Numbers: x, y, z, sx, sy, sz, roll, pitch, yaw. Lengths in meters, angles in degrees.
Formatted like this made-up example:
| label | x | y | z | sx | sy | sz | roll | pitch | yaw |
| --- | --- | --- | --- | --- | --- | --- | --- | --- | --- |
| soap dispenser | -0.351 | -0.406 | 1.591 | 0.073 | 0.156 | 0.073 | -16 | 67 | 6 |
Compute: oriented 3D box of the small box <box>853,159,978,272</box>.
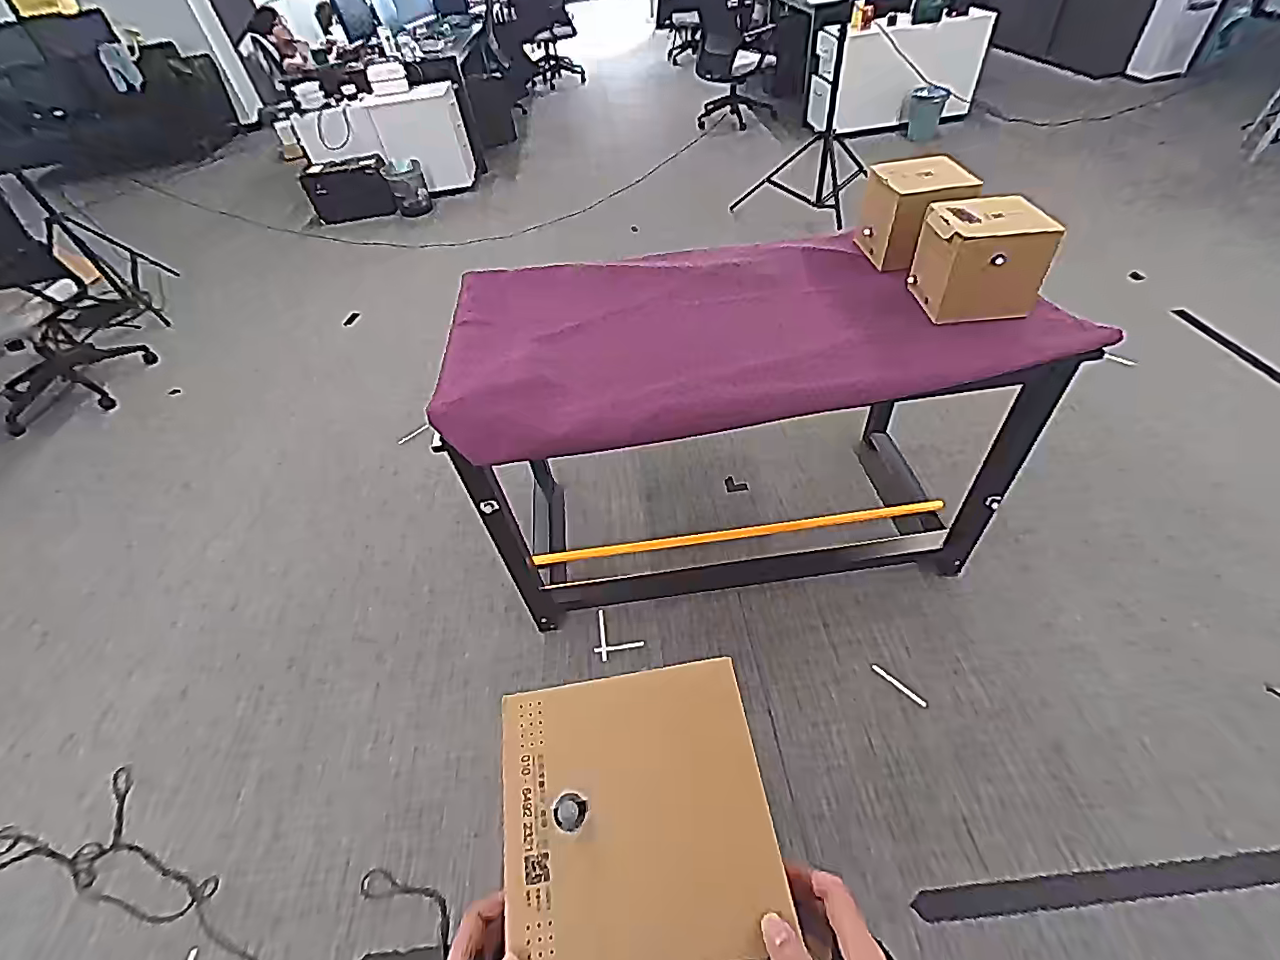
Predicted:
| label | x | y | z | sx | sy | sz | roll | pitch | yaw |
| --- | --- | --- | --- | --- | --- | --- | --- | --- | --- |
| small box | 0.602 | -0.587 | 1.208 | 0.179 | 0.176 | 0.168 | -8 | 48 | 0 |

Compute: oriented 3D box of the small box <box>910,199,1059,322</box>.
| label | x | y | z | sx | sy | sz | roll | pitch | yaw |
| --- | --- | --- | --- | --- | --- | --- | --- | --- | --- |
| small box | 0.647 | -0.420 | 1.047 | 0.179 | 0.176 | 0.168 | -4 | 46 | 4 |
